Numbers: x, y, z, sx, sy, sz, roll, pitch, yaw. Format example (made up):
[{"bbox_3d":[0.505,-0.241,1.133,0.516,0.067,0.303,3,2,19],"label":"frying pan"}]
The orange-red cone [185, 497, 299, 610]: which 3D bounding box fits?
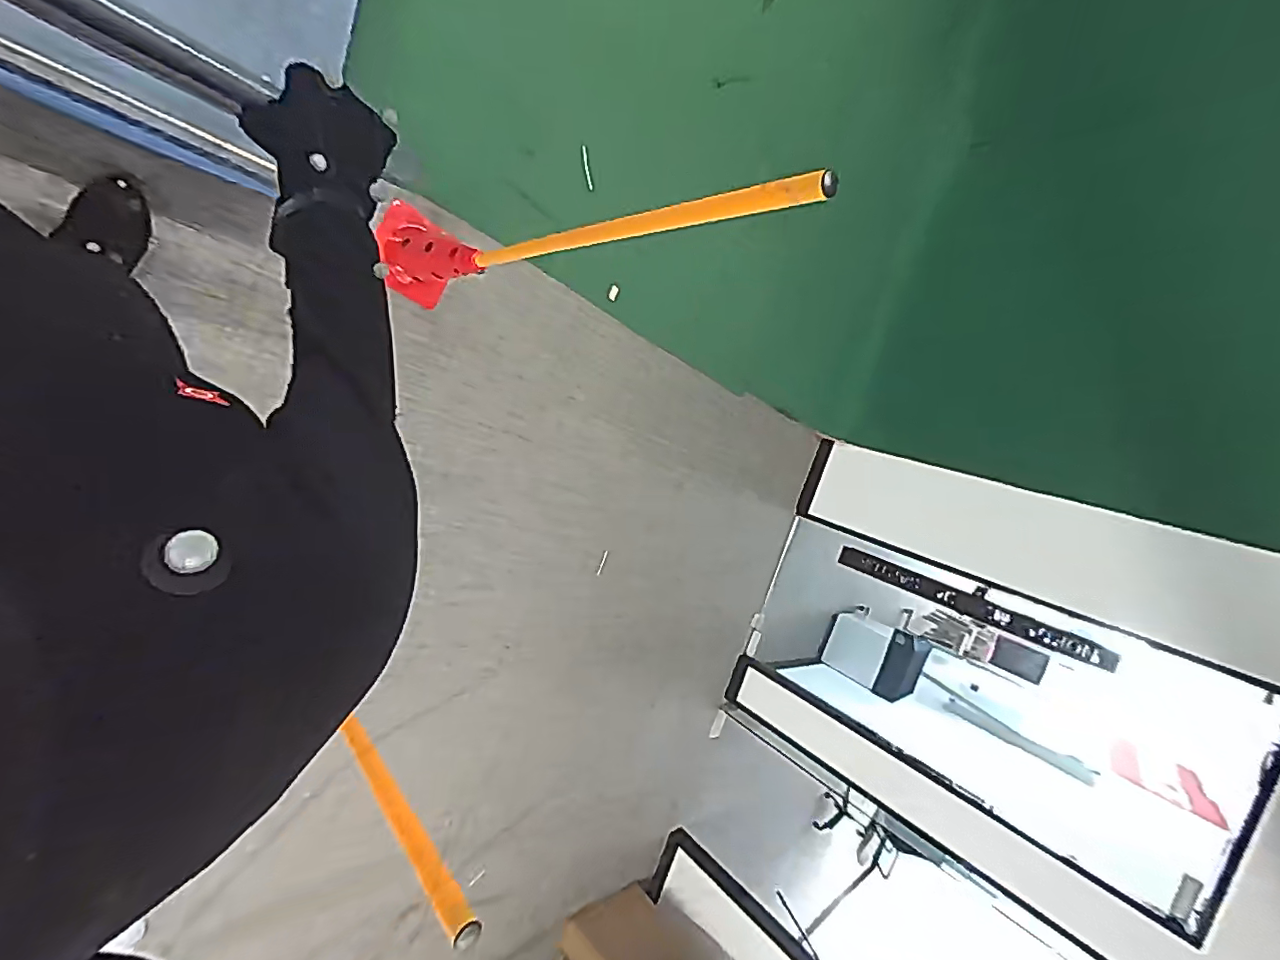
[{"bbox_3d":[-0.850,0.196,1.203,0.199,0.360,0.198,18,94,-47],"label":"orange-red cone"}]
